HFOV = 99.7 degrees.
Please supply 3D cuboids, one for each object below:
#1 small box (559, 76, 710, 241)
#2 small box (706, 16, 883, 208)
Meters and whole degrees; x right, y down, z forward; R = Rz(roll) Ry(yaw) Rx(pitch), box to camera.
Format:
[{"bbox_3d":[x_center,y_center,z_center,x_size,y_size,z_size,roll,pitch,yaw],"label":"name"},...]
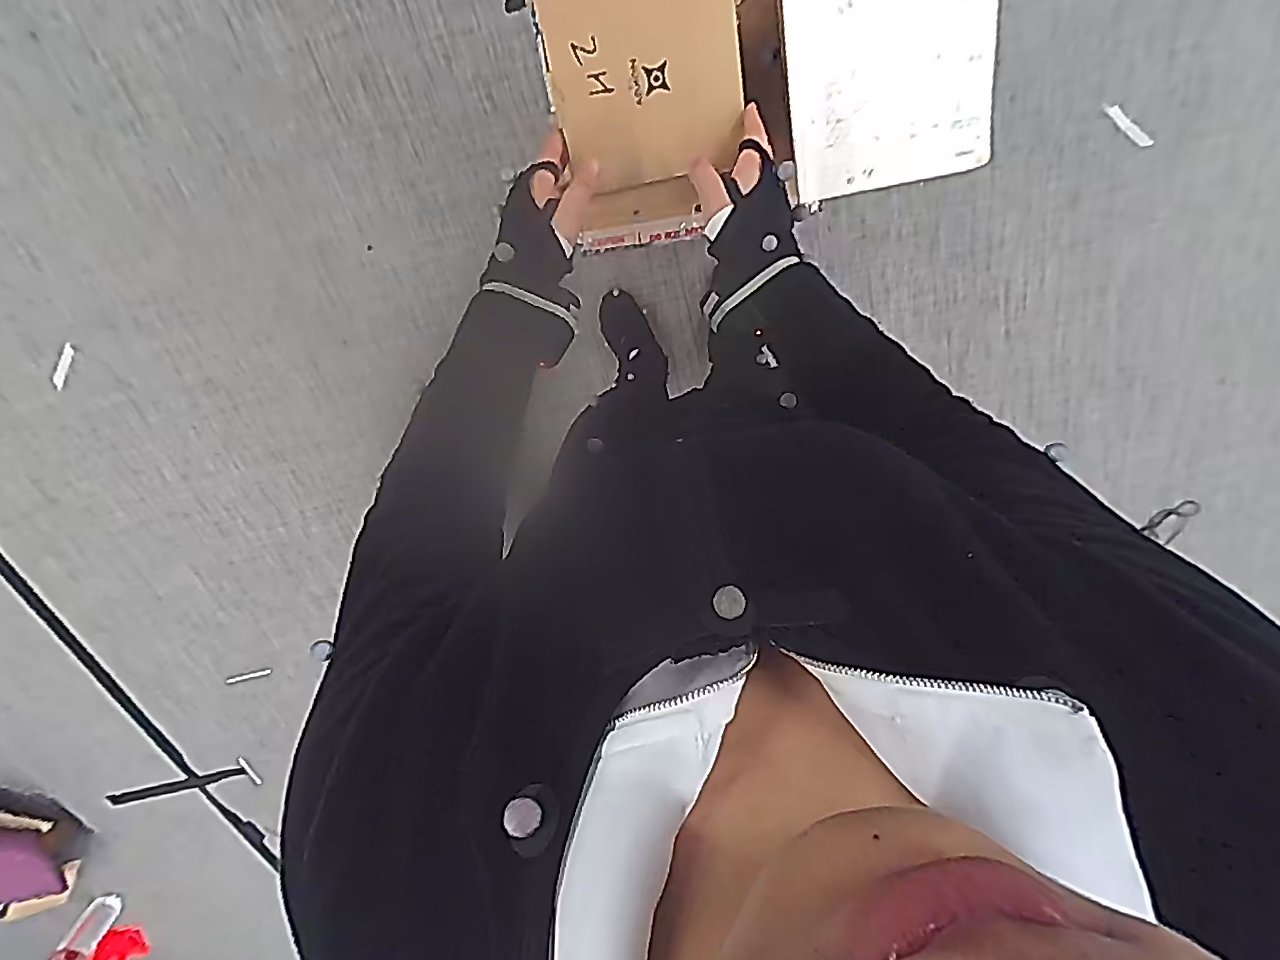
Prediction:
[{"bbox_3d":[-0.007,-0.432,0.743,0.179,0.176,0.168,-7,116,1],"label":"small box"},{"bbox_3d":[0.204,-0.483,0.737,0.179,0.176,0.168,-16,115,2],"label":"small box"}]
